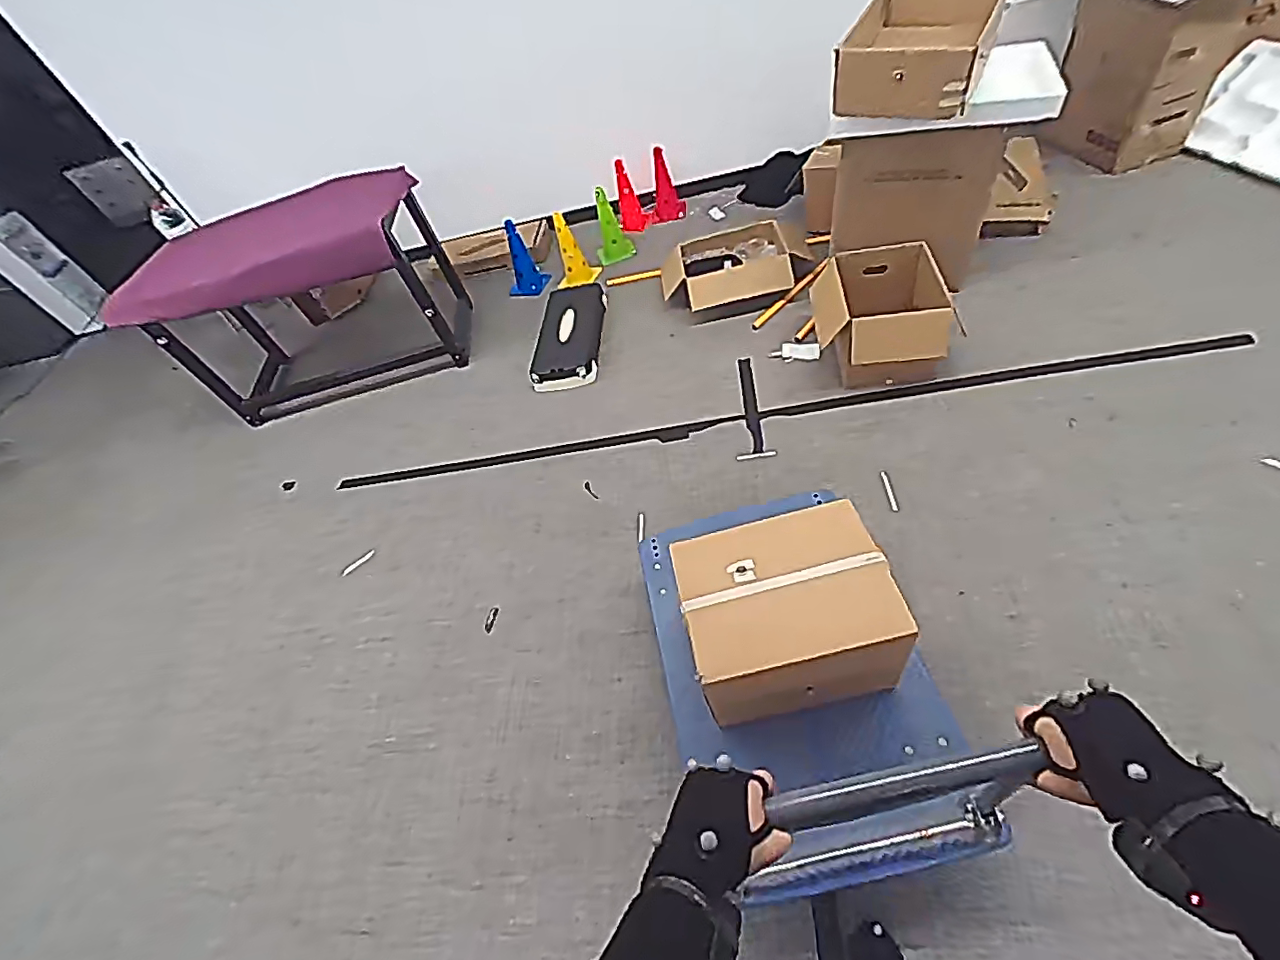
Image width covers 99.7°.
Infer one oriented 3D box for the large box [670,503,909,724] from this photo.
[{"bbox_3d":[0.316,0.308,1.211,0.408,0.320,0.320,-16,49,4],"label":"large box"}]
